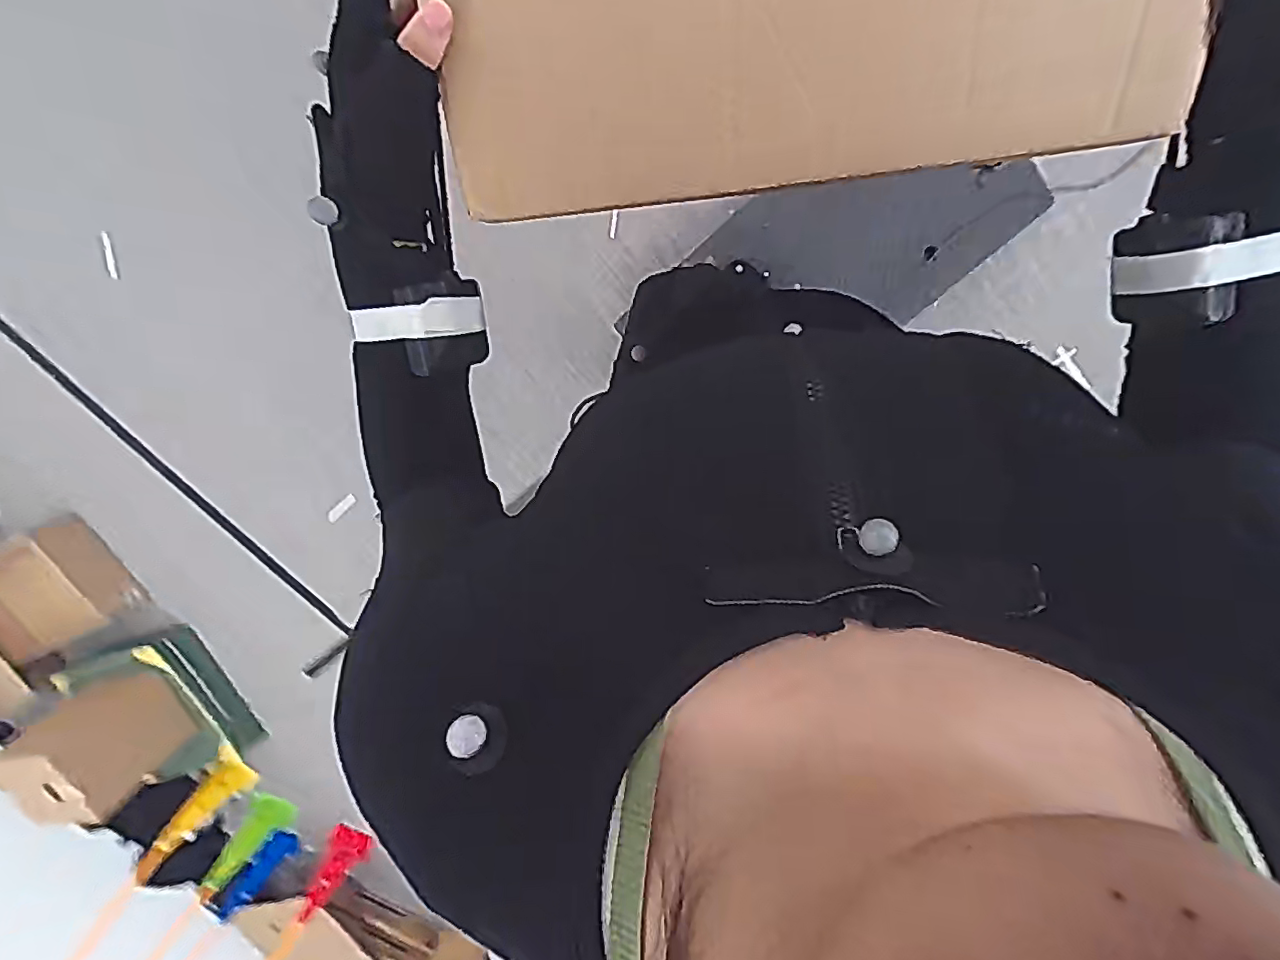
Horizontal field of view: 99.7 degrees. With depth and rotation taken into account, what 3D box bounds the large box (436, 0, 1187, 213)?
[{"bbox_3d":[0.090,-0.389,0.387,0.408,0.320,0.320,-3,118,5],"label":"large box"}]
